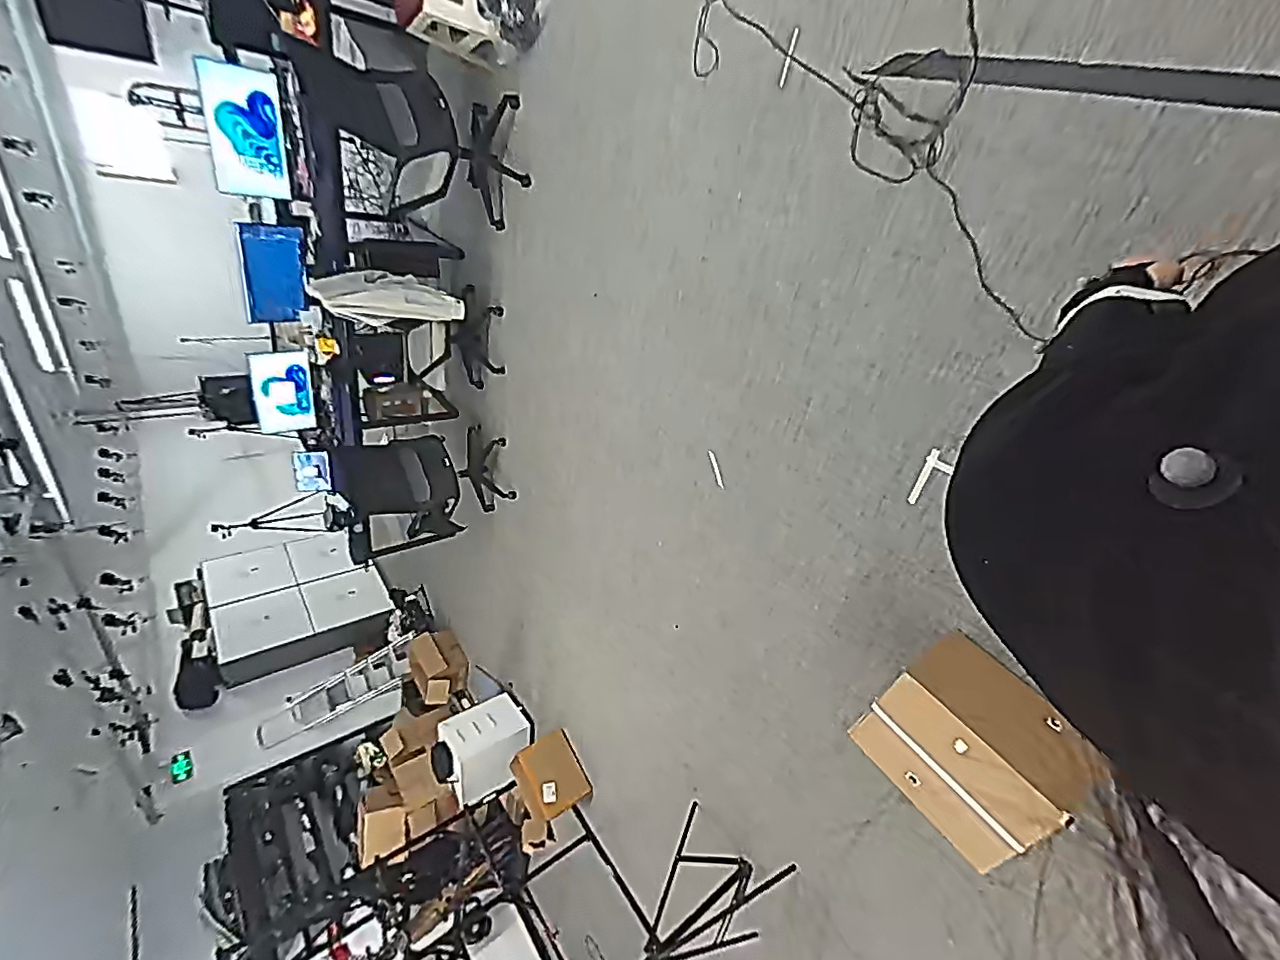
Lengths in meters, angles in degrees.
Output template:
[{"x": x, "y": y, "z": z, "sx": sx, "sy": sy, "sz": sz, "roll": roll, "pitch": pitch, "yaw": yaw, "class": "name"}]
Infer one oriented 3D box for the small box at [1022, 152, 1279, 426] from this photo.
[{"x": 0.532, "y": -0.185, "z": 0.523, "sx": 0.176, "sy": 0.168, "sz": 0.179, "roll": 64, "pitch": 162, "yaw": 17, "class": "small box"}]
